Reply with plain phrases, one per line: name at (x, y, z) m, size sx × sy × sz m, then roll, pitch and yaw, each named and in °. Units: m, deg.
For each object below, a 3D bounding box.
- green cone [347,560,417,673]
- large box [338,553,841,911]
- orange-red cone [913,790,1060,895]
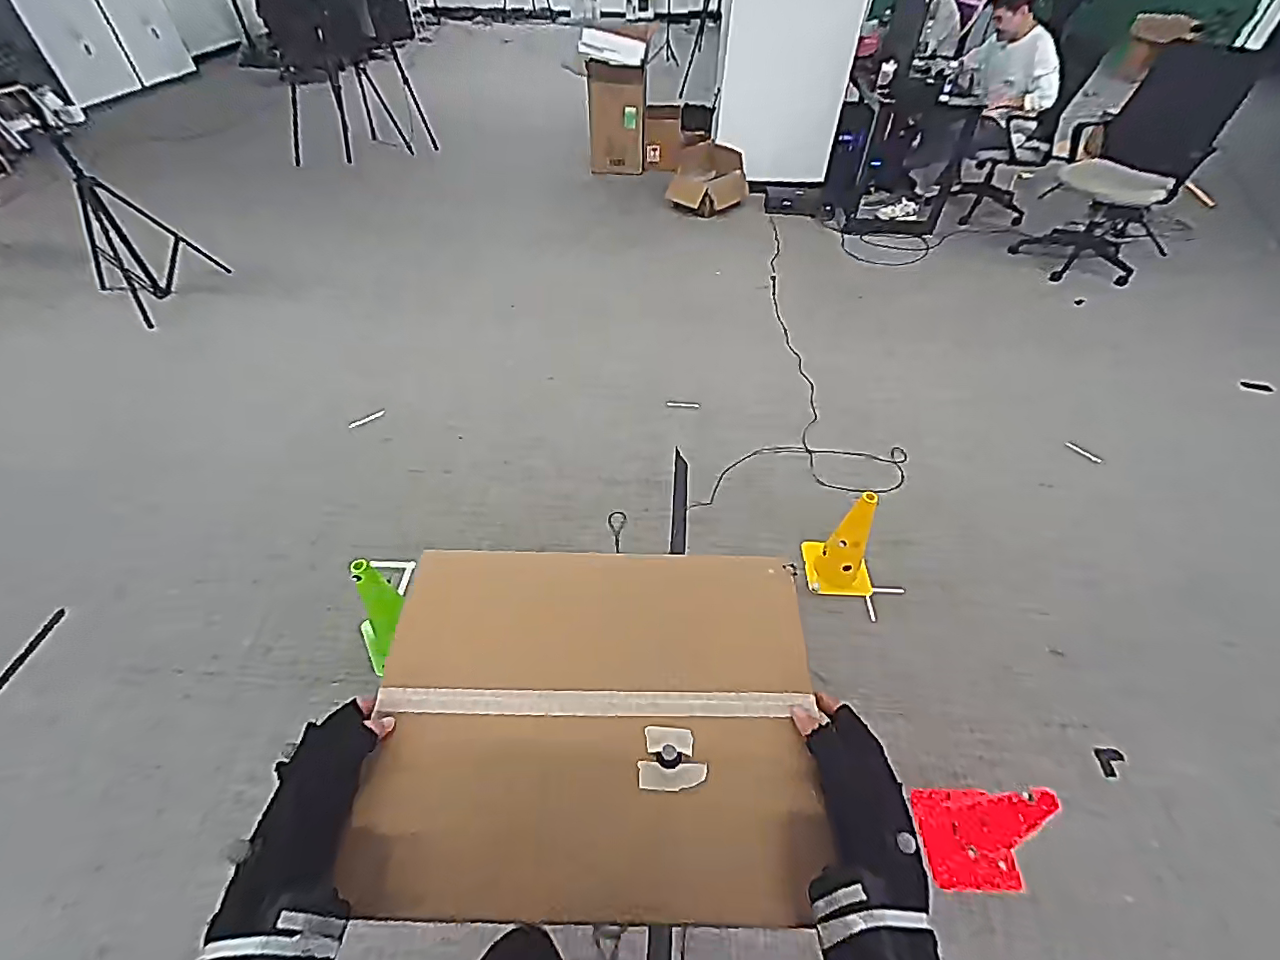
green cone at (-0.697, 0.329, 1.466) m, size 0.202 × 0.368 × 0.200 m, roll -26°, pitch 52°, yaw -21°
large box at (-0.042, 0.296, 0.627) m, size 0.408 × 0.320 × 0.320 m, roll 2°, pitch 54°, yaw 0°
orange-red cone at (0.753, 0.713, 1.127) m, size 0.198 × 0.360 × 0.199 m, roll 2°, pitch 46°, yaw 0°
